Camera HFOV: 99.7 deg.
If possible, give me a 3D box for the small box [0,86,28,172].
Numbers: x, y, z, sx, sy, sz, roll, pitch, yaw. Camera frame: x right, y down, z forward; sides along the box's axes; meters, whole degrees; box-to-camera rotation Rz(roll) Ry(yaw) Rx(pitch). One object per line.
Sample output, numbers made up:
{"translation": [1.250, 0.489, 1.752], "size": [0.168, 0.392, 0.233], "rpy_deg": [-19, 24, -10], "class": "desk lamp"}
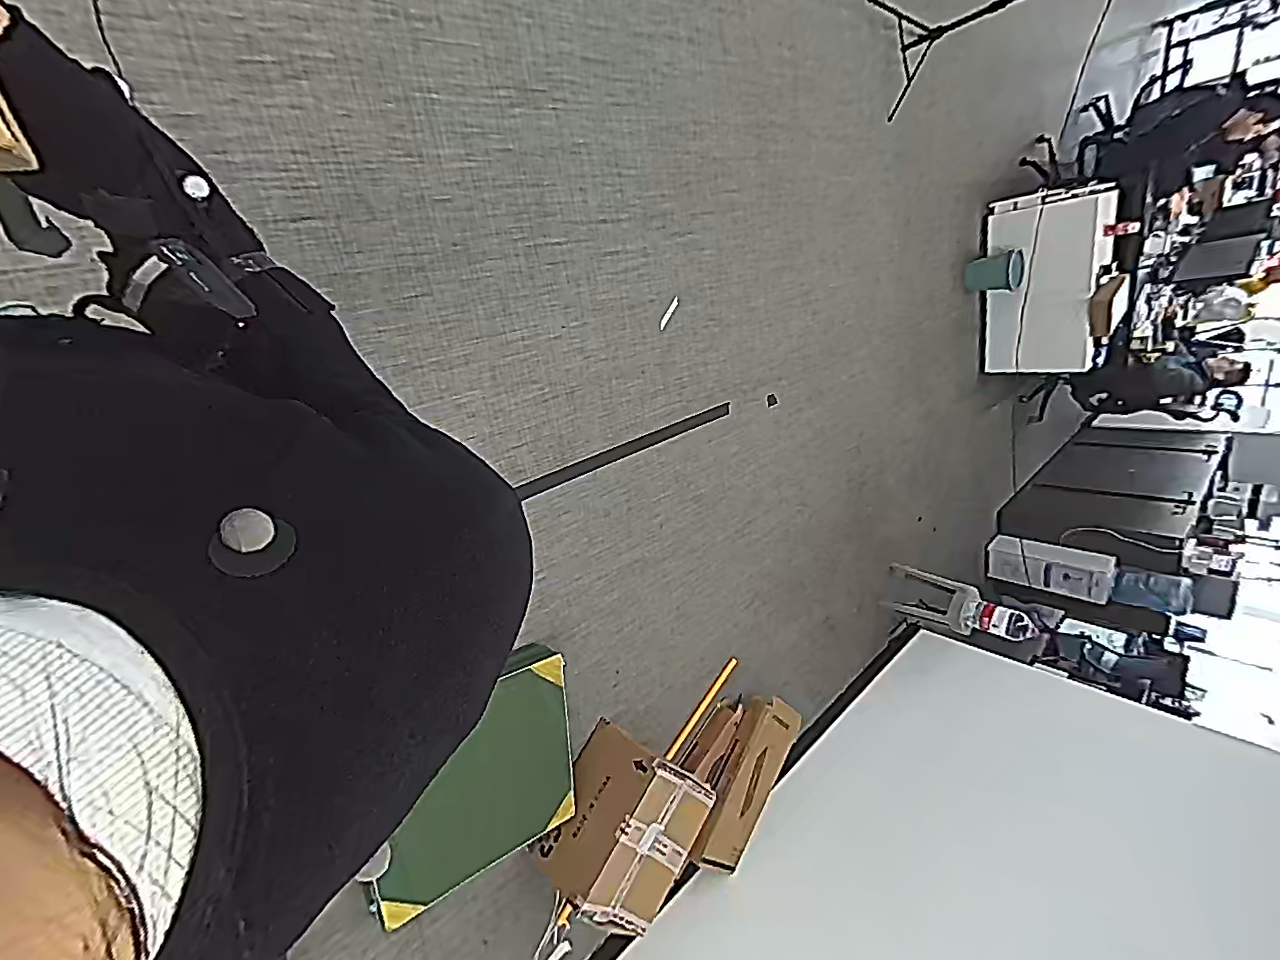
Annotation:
{"translation": [-0.349, -0.194, 0.161], "size": [0.176, 0.168, 0.179], "rpy_deg": [-26, 127, -36], "class": "small box"}
